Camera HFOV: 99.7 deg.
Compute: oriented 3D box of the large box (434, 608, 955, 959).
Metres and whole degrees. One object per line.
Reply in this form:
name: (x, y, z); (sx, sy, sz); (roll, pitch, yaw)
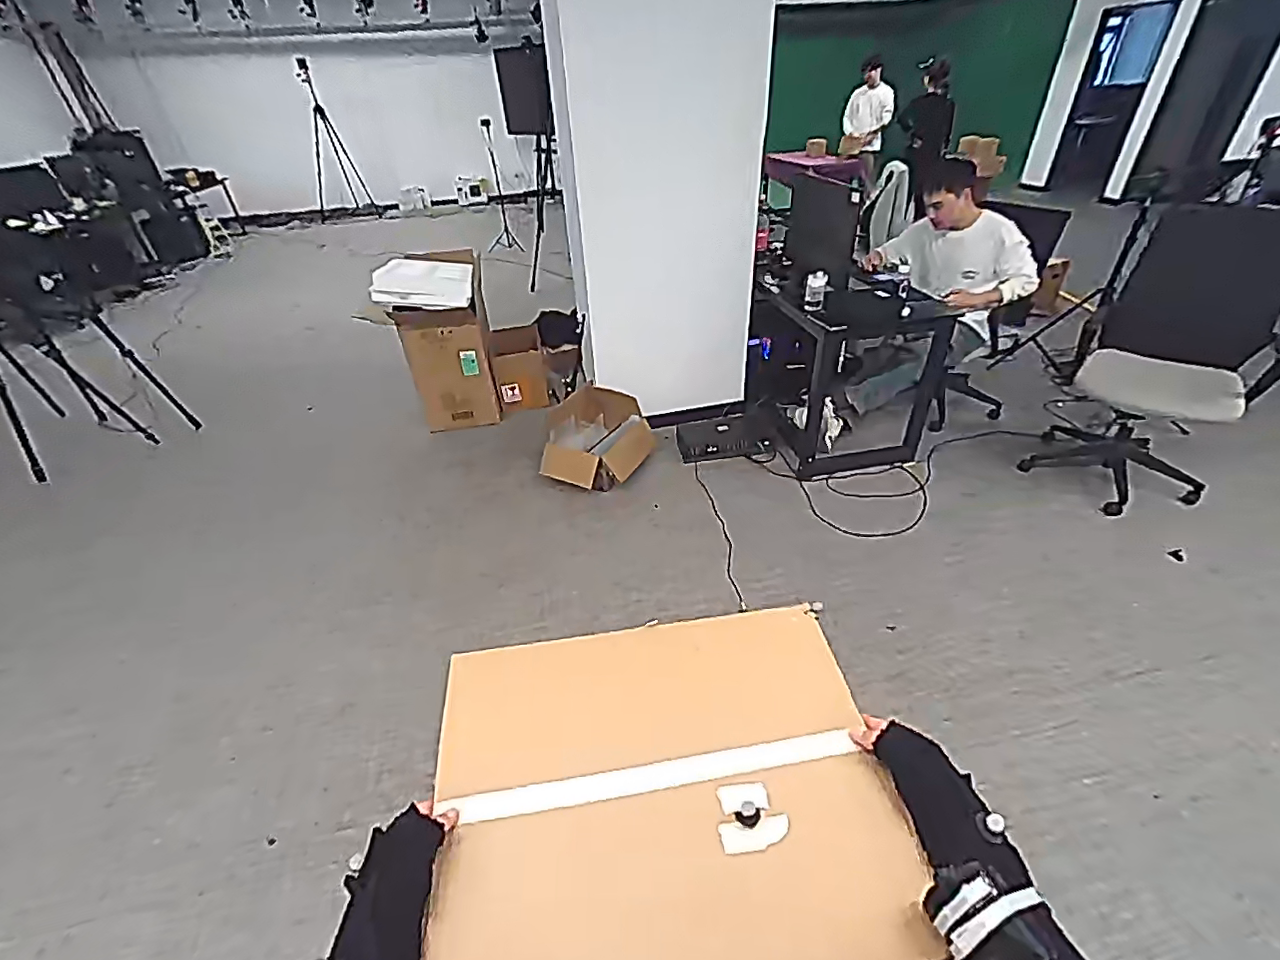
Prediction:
large box: (0.024, 0.384, 0.596); (0.408, 0.320, 0.320); (-6, 42, -6)
